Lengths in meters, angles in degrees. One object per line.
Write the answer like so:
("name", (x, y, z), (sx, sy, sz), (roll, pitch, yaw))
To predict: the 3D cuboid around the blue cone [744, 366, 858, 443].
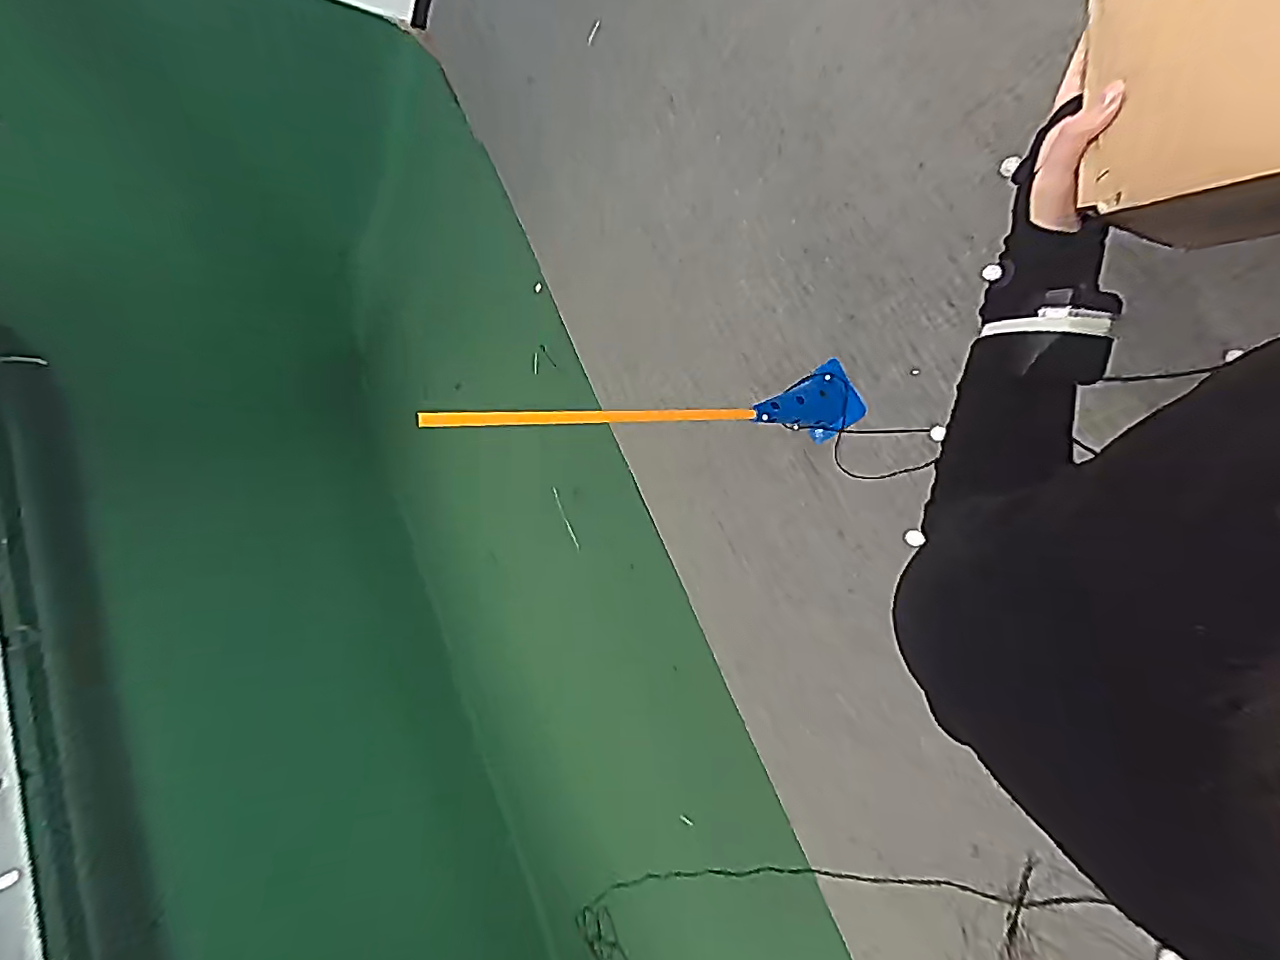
("blue cone", (0.418, -0.200, 1.526), (0.192, 0.380, 0.193), (-42, 67, 46))
